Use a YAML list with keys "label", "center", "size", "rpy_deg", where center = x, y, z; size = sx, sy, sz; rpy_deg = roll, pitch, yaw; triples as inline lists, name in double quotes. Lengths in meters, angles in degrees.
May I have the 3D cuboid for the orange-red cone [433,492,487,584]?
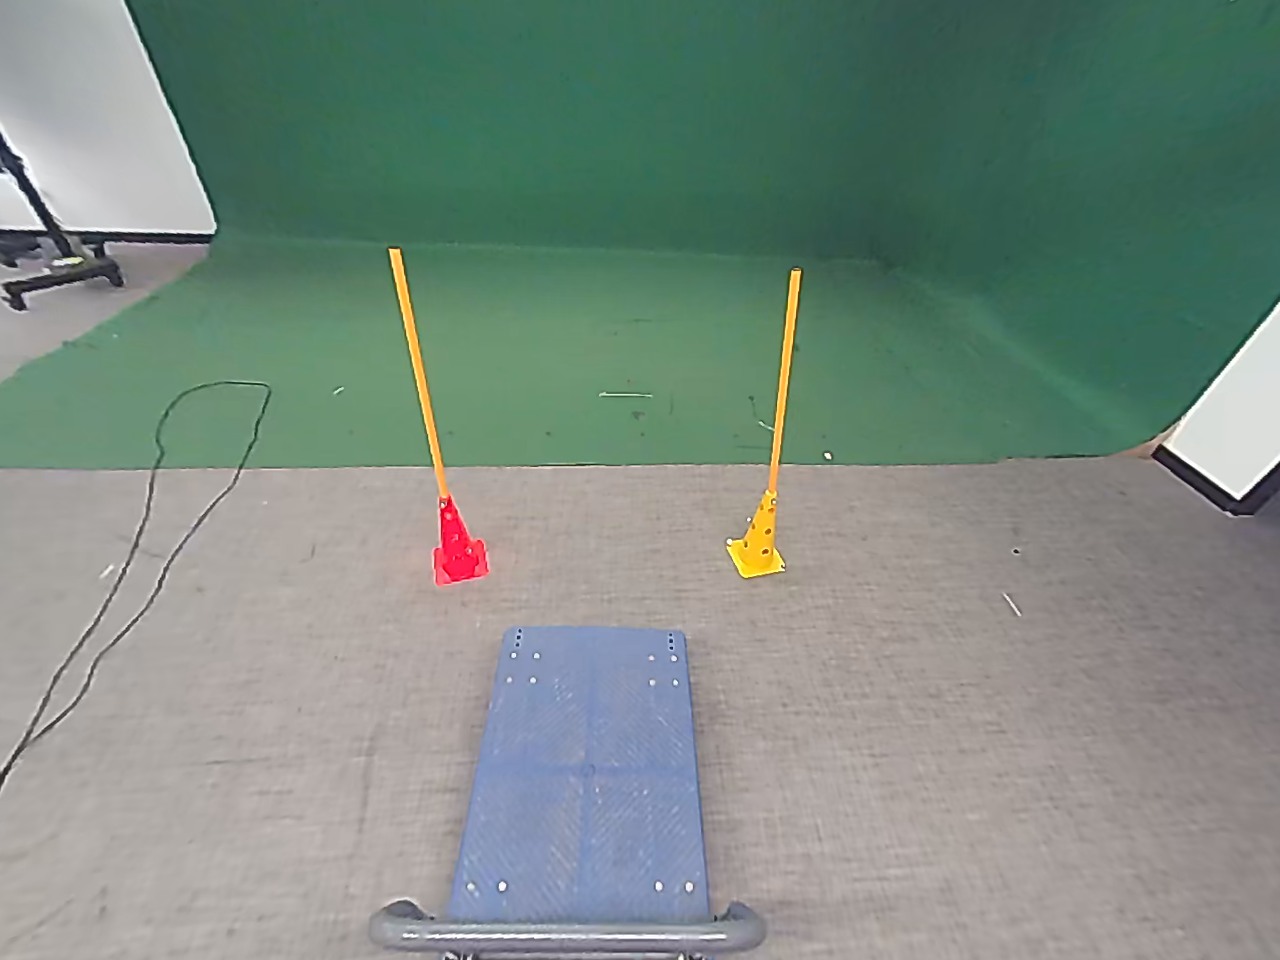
- label: "orange-red cone"
  center: [-0.702, 0.188, 2.010]
  size: [0.199, 0.360, 0.198]
  rpy_deg: [-11, 42, -15]
